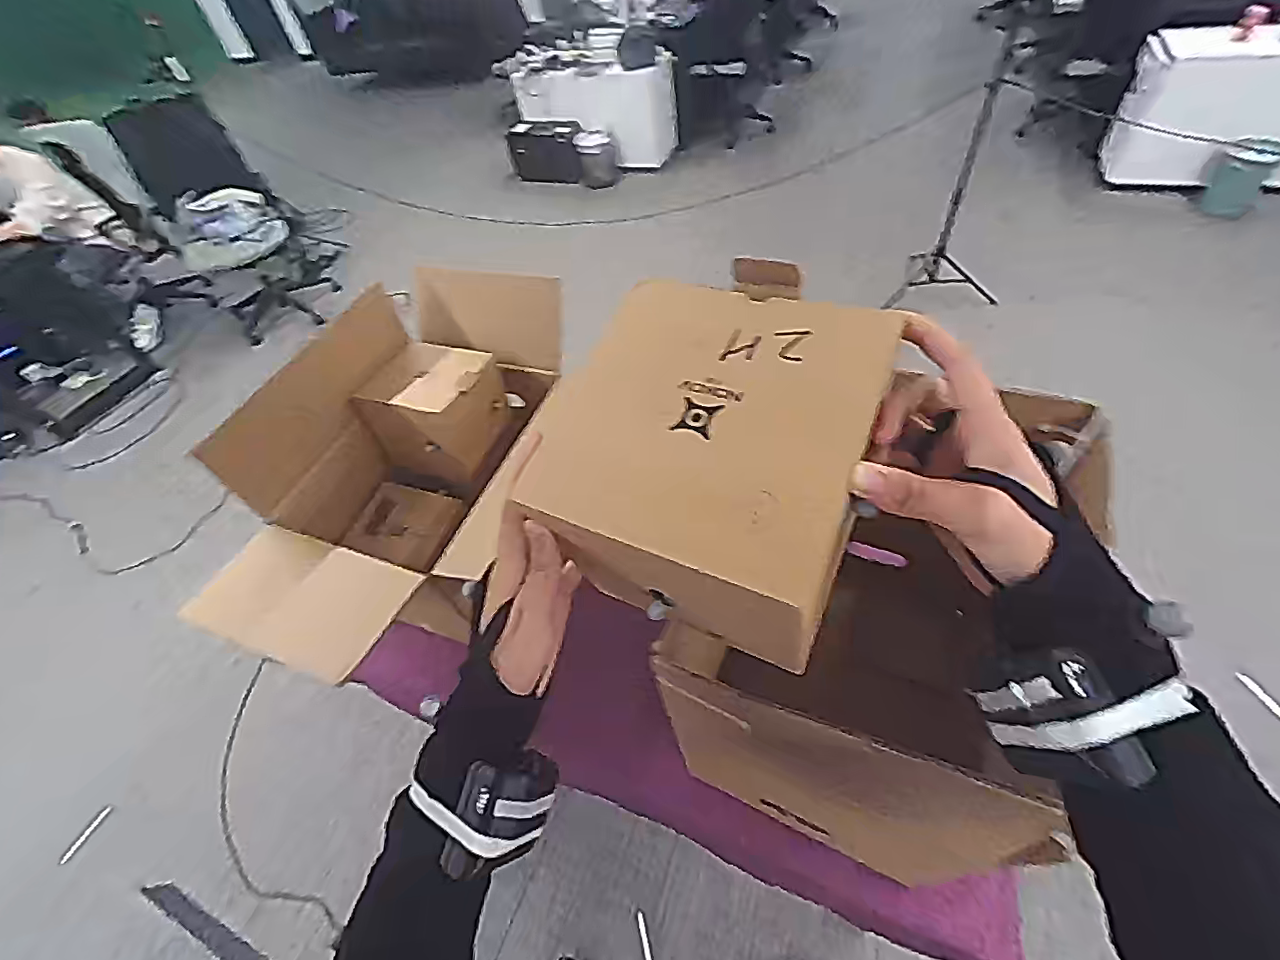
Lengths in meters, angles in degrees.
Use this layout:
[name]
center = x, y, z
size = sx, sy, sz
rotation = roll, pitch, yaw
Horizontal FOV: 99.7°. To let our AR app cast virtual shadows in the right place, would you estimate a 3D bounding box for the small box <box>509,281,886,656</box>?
[small box]
center = 0.050, -0.002, 0.370
size = 0.168, 0.176, 0.179
rotation = 19, 68, 24
